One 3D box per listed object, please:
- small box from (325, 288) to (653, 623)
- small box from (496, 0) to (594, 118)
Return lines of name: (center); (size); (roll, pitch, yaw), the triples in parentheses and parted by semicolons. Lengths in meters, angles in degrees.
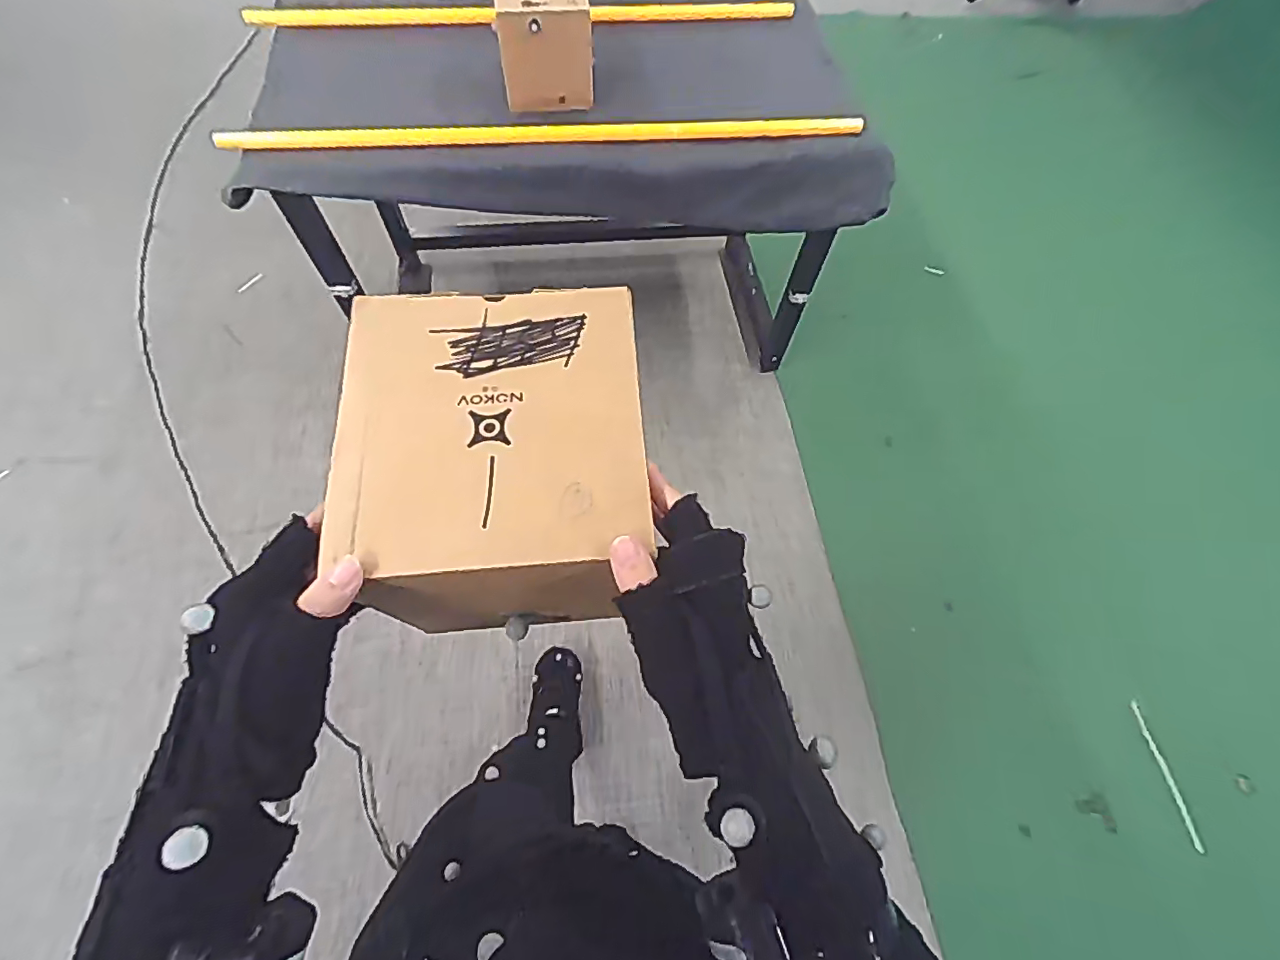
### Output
small box: (-0.084, -0.007, 0.377); (0.168, 0.176, 0.179); (-4, 67, -3)
small box: (-0.182, -0.838, 1.049); (0.168, 0.176, 0.179); (-8, 63, -6)
